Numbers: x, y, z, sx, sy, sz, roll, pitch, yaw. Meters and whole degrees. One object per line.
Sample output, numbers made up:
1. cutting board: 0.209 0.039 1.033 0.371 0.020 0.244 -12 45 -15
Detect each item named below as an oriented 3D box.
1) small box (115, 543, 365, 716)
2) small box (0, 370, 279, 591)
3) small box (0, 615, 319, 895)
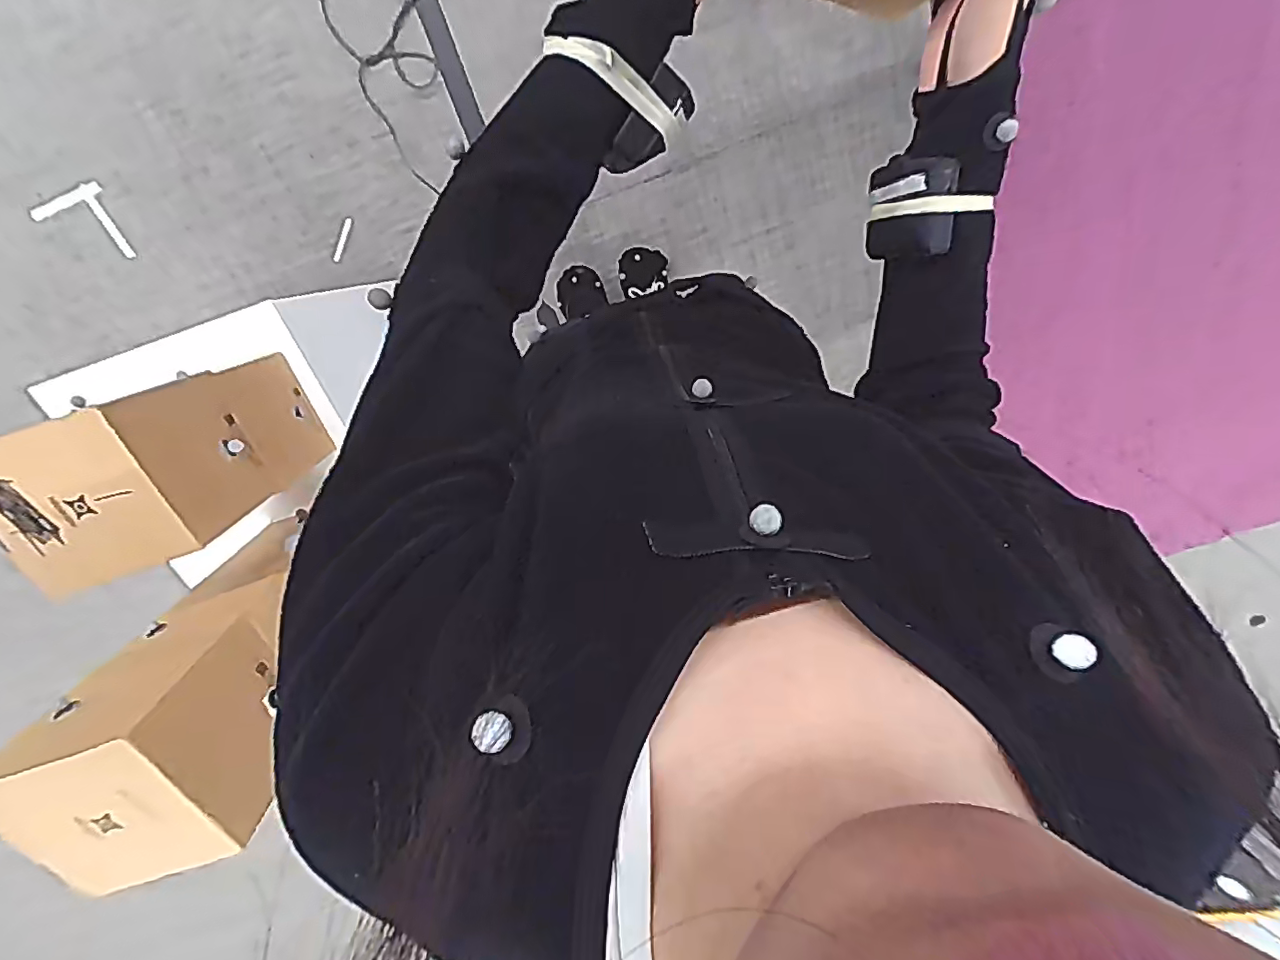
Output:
1. small box: -0.493 0.207 0.707 0.179 0.176 0.168 -19 114 4
2. small box: -0.562 -0.008 0.605 0.179 0.176 0.168 -17 114 2
3. small box: -0.484 0.271 0.558 0.179 0.176 0.168 -20 114 4
